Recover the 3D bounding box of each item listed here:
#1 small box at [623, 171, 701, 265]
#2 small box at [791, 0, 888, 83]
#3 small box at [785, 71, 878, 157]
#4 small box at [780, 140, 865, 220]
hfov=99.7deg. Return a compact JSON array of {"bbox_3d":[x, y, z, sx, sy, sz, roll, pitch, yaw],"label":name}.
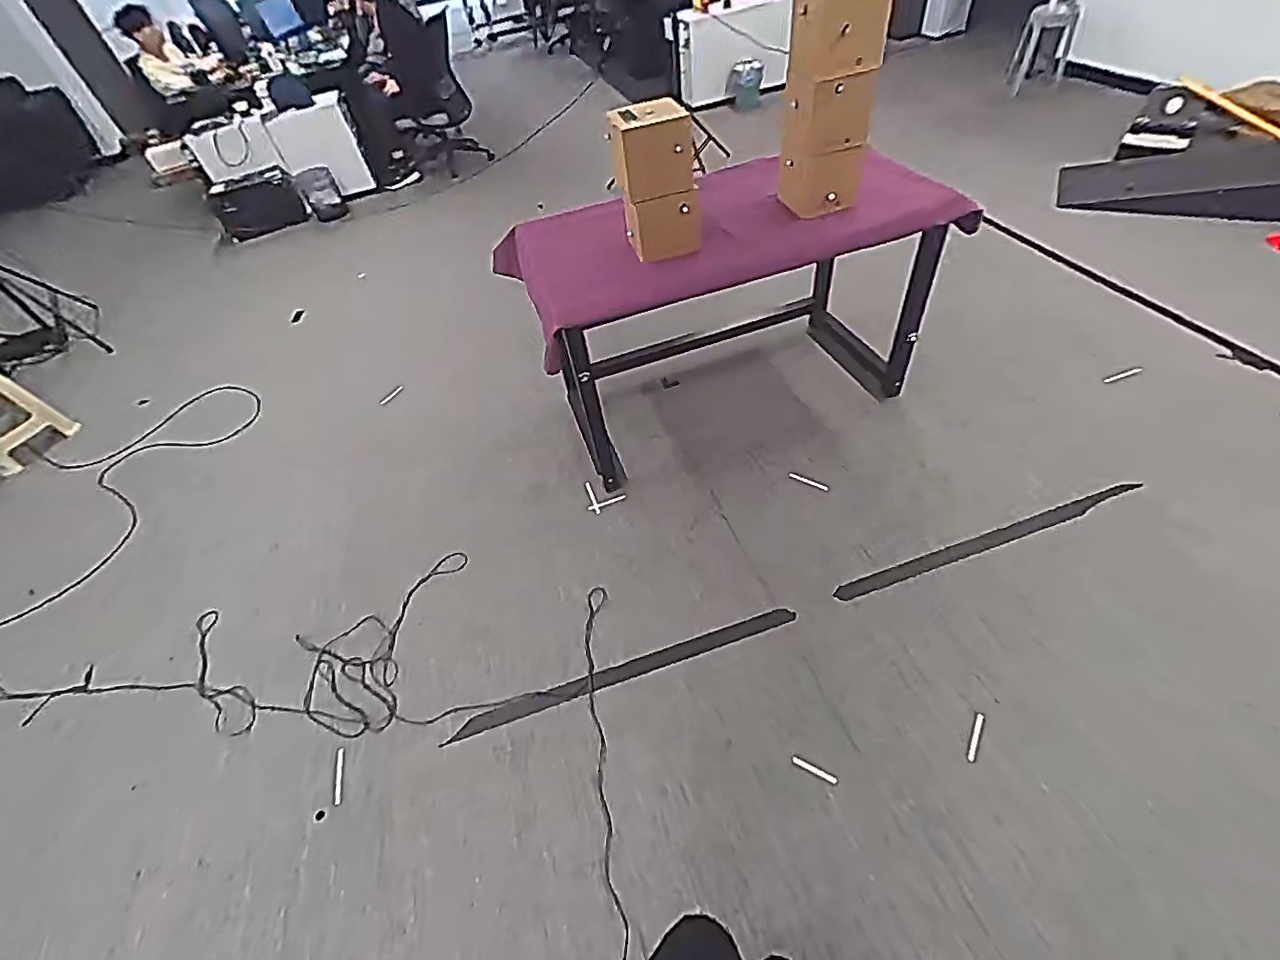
[{"bbox_3d":[0.064,-0.724,1.498,0.179,0.176,0.168,-16,48,-4],"label":"small box"},{"bbox_3d":[0.475,-1.079,1.299,0.168,0.176,0.179,-15,48,-3],"label":"small box"},{"bbox_3d":[0.494,-0.978,1.426,0.168,0.176,0.179,-15,48,-3],"label":"small box"},{"bbox_3d":[0.514,-0.875,1.552,0.168,0.176,0.179,-17,49,-4],"label":"small box"}]
